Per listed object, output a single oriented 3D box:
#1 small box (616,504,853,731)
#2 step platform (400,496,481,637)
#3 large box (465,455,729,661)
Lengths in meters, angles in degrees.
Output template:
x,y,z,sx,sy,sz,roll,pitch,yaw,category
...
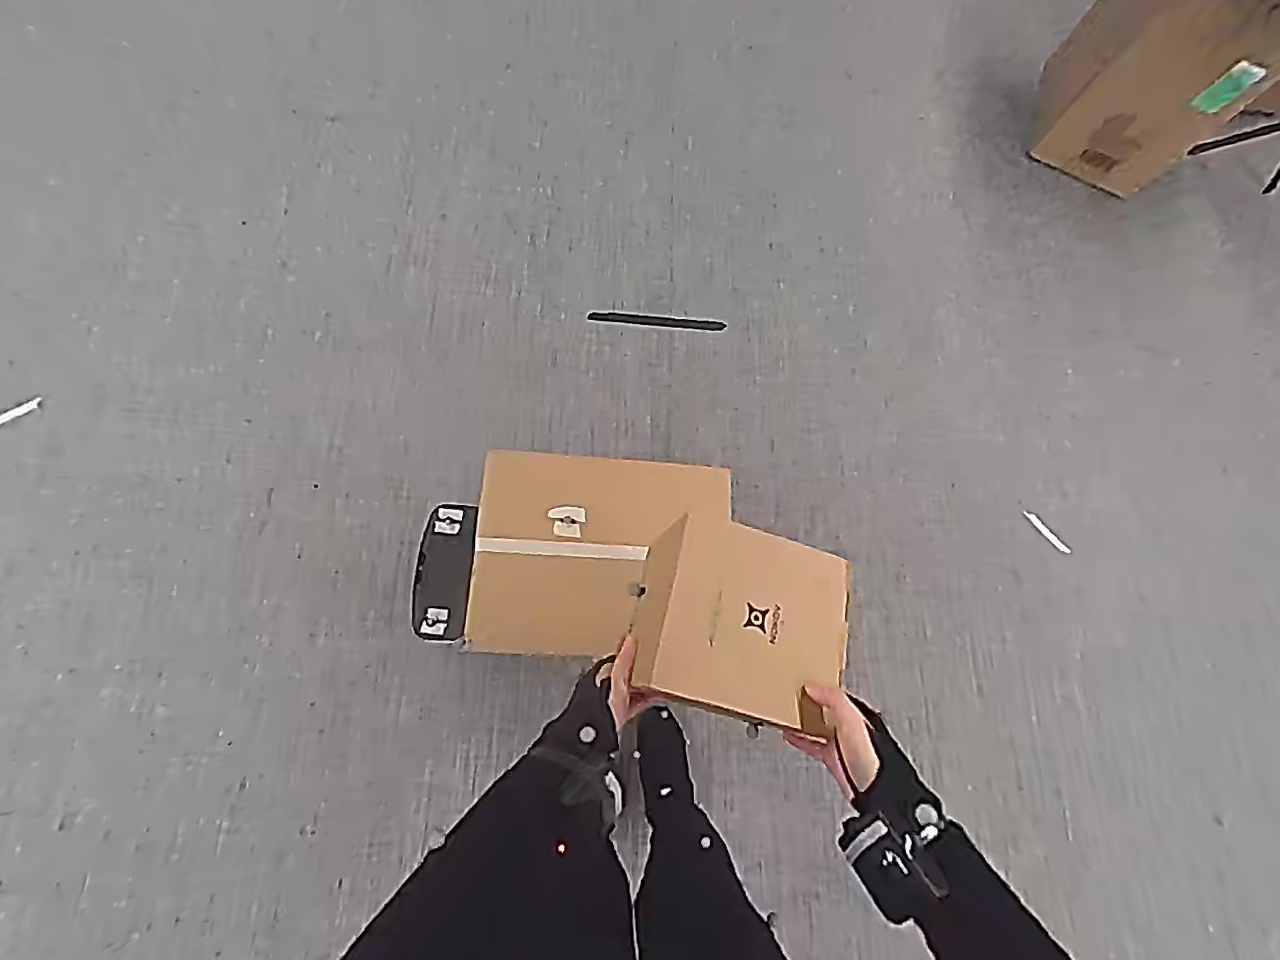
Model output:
x,y,z,sx,sy,sz,roll,pitch,yaw,category
0.090,0.146,0.561,0.179,0.176,0.168,18,66,-7,small box
-0.153,0.234,1.198,0.684,0.204,0.286,10,73,-4,step platform
-0.068,0.156,0.981,0.408,0.320,0.320,4,73,-6,large box
